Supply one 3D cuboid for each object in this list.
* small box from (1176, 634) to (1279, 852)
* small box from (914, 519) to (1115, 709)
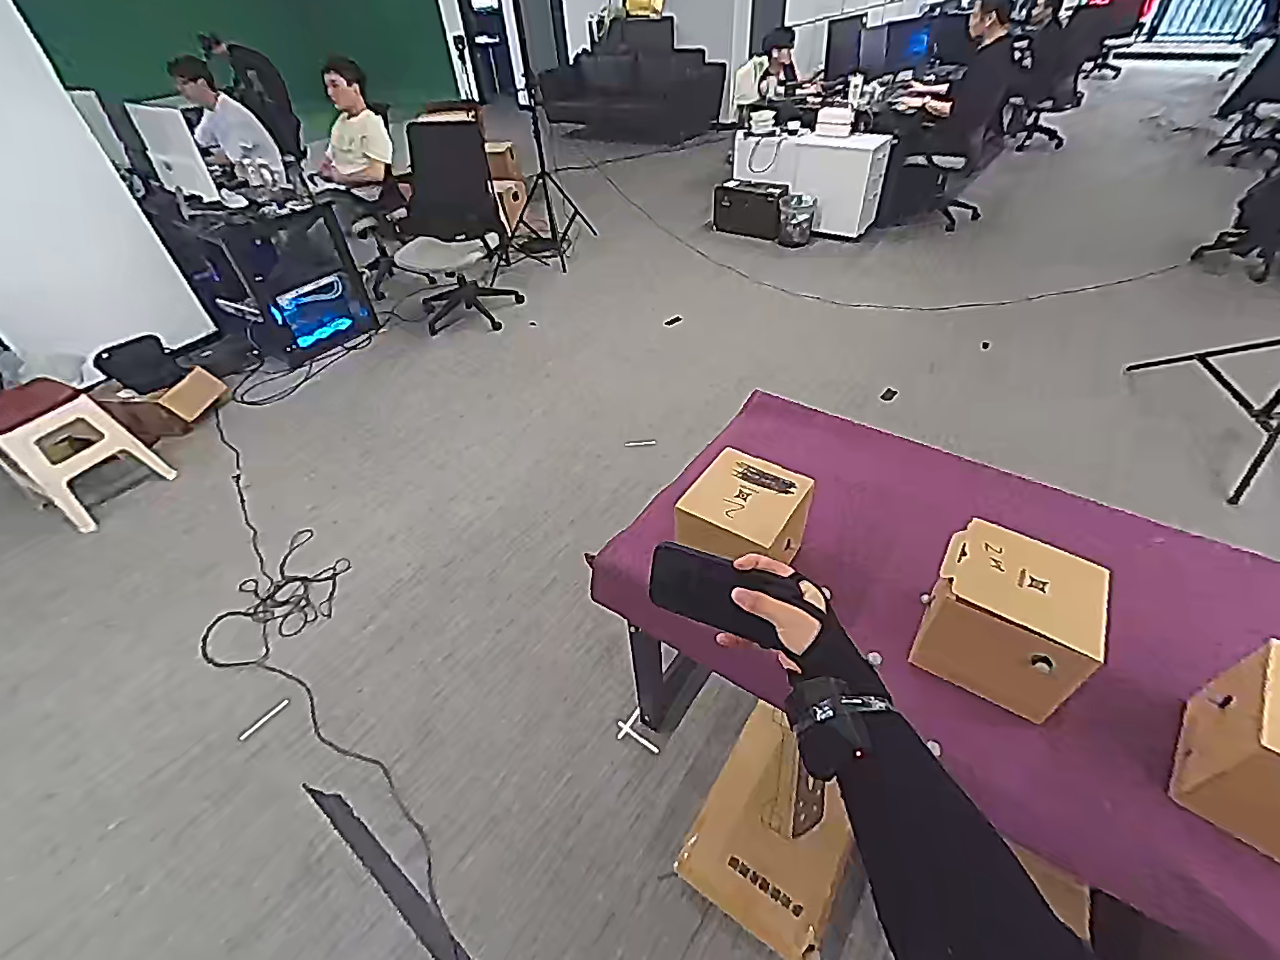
[{"bbox_3d":[0.768,0.319,0.611,0.179,0.176,0.168,30,53,31],"label":"small box"},{"bbox_3d":[0.521,0.192,0.766,0.179,0.176,0.168,23,47,27],"label":"small box"}]
